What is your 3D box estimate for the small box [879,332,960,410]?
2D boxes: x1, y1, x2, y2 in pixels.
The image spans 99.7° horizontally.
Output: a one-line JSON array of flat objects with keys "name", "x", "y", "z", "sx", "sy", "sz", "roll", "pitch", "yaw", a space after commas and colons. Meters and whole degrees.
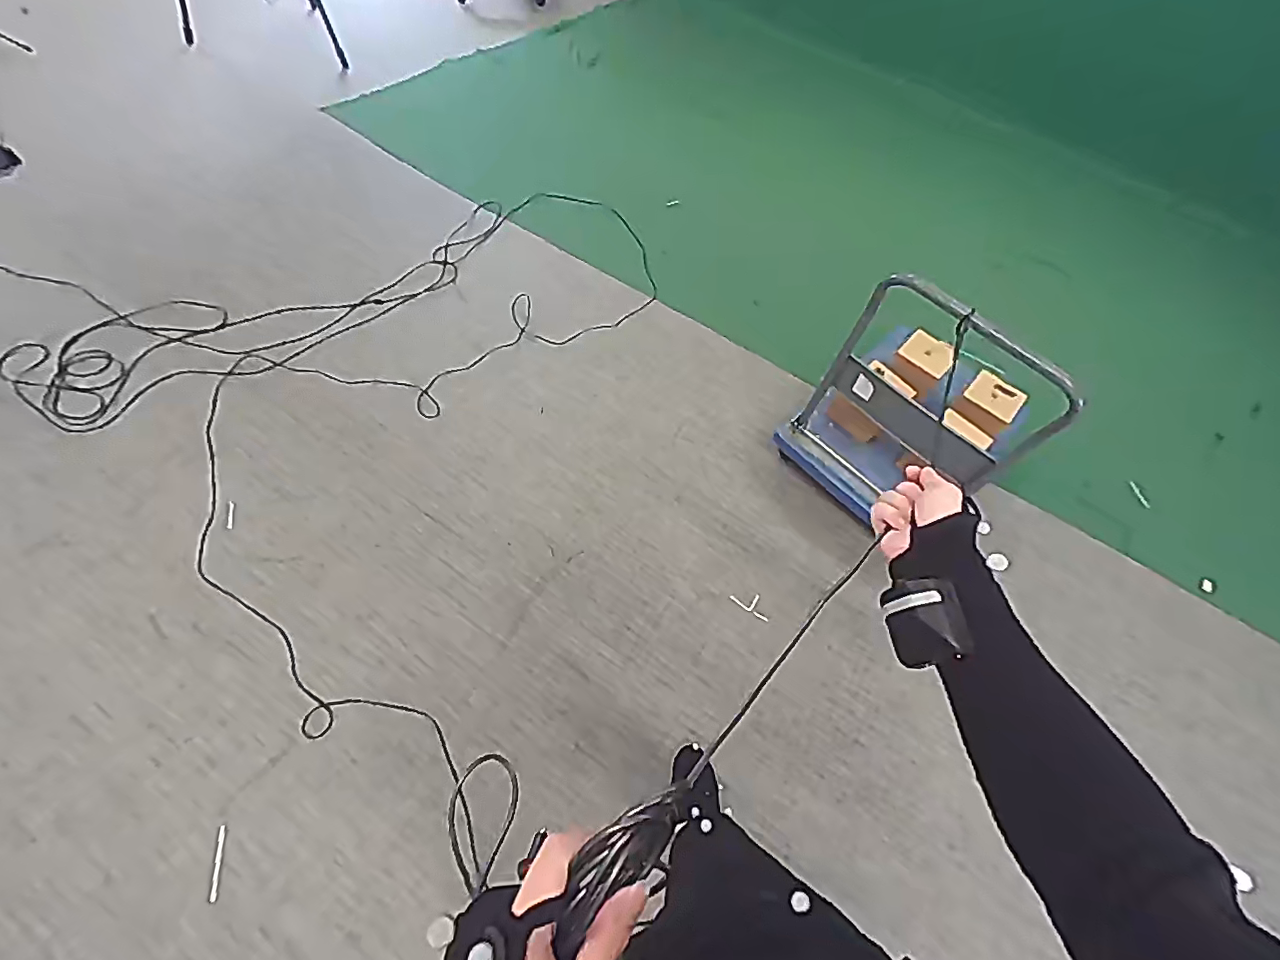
[{"name": "small box", "x": 0.982, "y": -0.383, "z": 1.920, "sx": 0.168, "sy": 0.176, "sz": 0.179, "roll": 41, "pitch": 61, "yaw": 16}]

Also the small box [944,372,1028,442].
[{"name": "small box", "x": 1.166, "y": -0.228, "z": 1.848, "sx": 0.168, "sy": 0.176, "sz": 0.179, "roll": 40, "pitch": 62, "yaw": 17}]

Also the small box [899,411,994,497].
[{"name": "small box", "x": 0.972, "y": -0.081, "z": 1.730, "sx": 0.179, "sy": 0.176, "sz": 0.168, "roll": -36, "pitch": 69, "yaw": -25}]
